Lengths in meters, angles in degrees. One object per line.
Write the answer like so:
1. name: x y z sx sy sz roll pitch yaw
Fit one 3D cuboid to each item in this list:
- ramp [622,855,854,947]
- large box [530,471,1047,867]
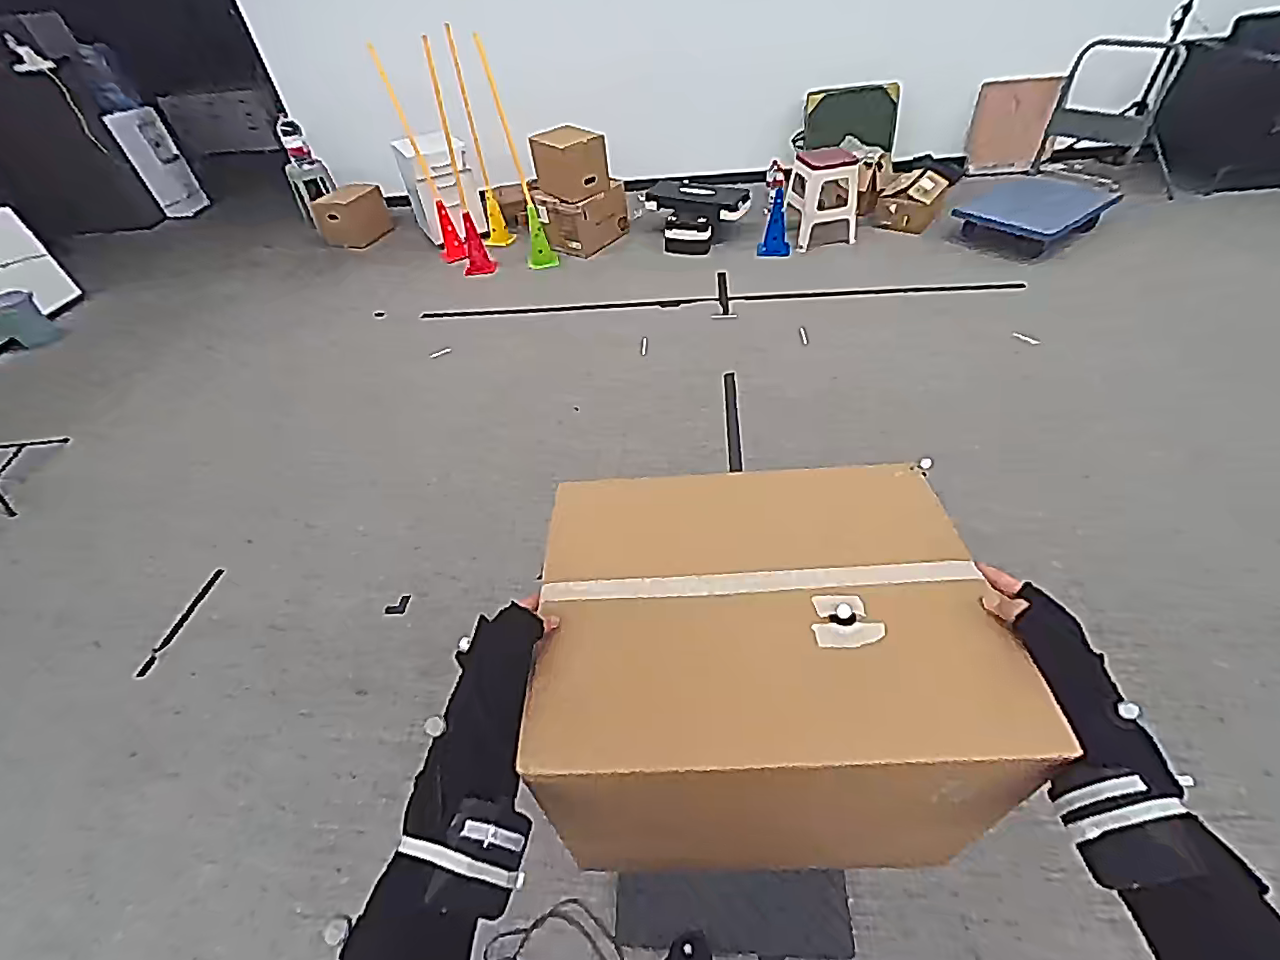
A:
1. ramp: 0.218 0.552 1.407 0.509 0.206 0.991 -2 46 4
2. large box: 0.117 0.215 0.619 0.408 0.320 0.320 -3 43 3
